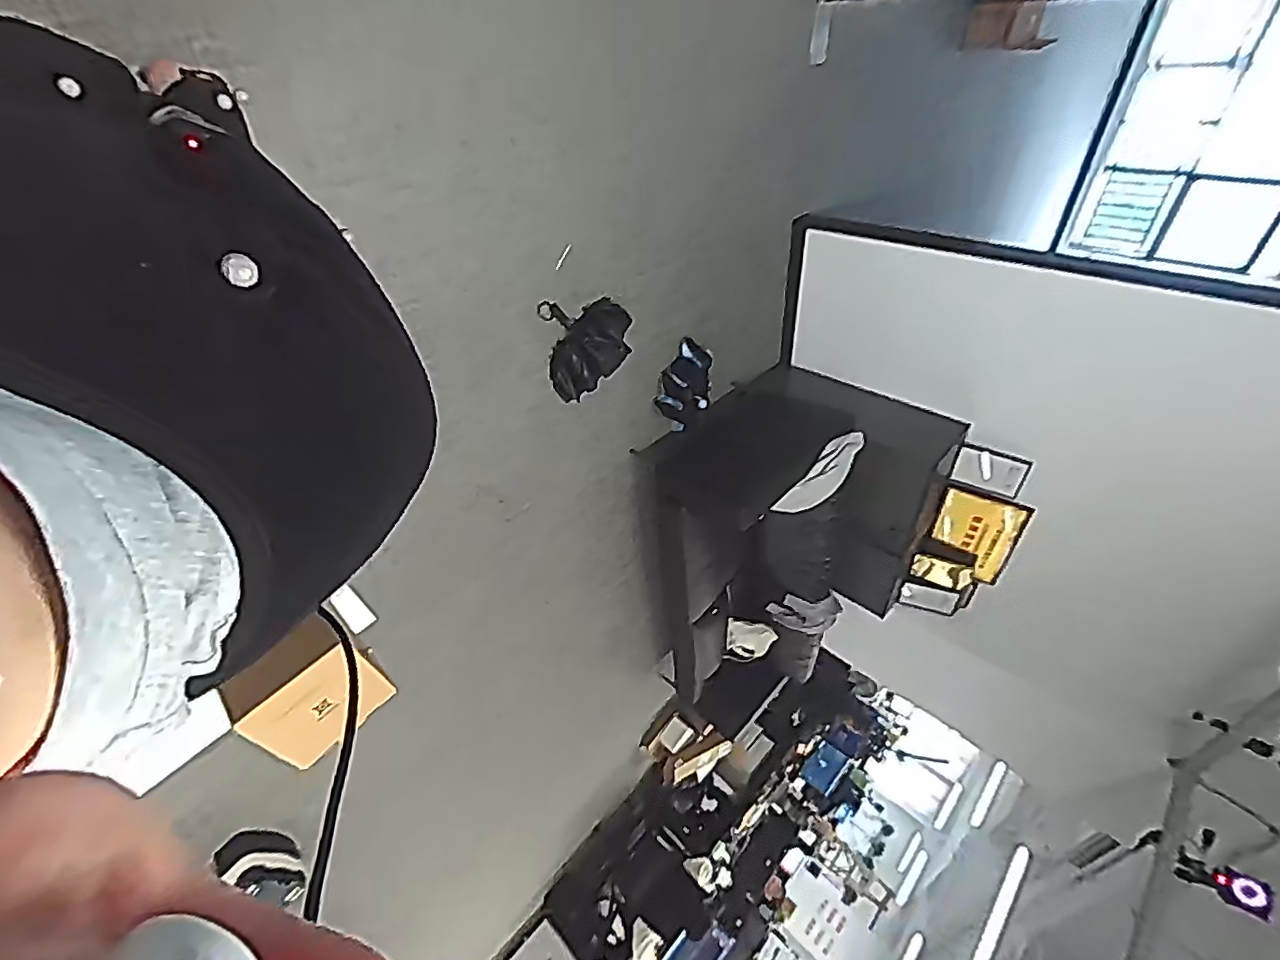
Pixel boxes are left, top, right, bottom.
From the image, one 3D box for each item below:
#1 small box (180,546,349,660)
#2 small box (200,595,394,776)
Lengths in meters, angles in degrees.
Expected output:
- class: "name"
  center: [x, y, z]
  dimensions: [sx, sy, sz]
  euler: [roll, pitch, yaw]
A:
- class: "small box"
  center: [-0.644, 0.248, 0.943]
  dimensions: [0.168, 0.176, 0.179]
  euler: [-39, 142, -27]
- class: "small box"
  center: [-0.531, 0.314, 0.846]
  dimensions: [0.168, 0.176, 0.179]
  euler: [-41, 141, -27]
